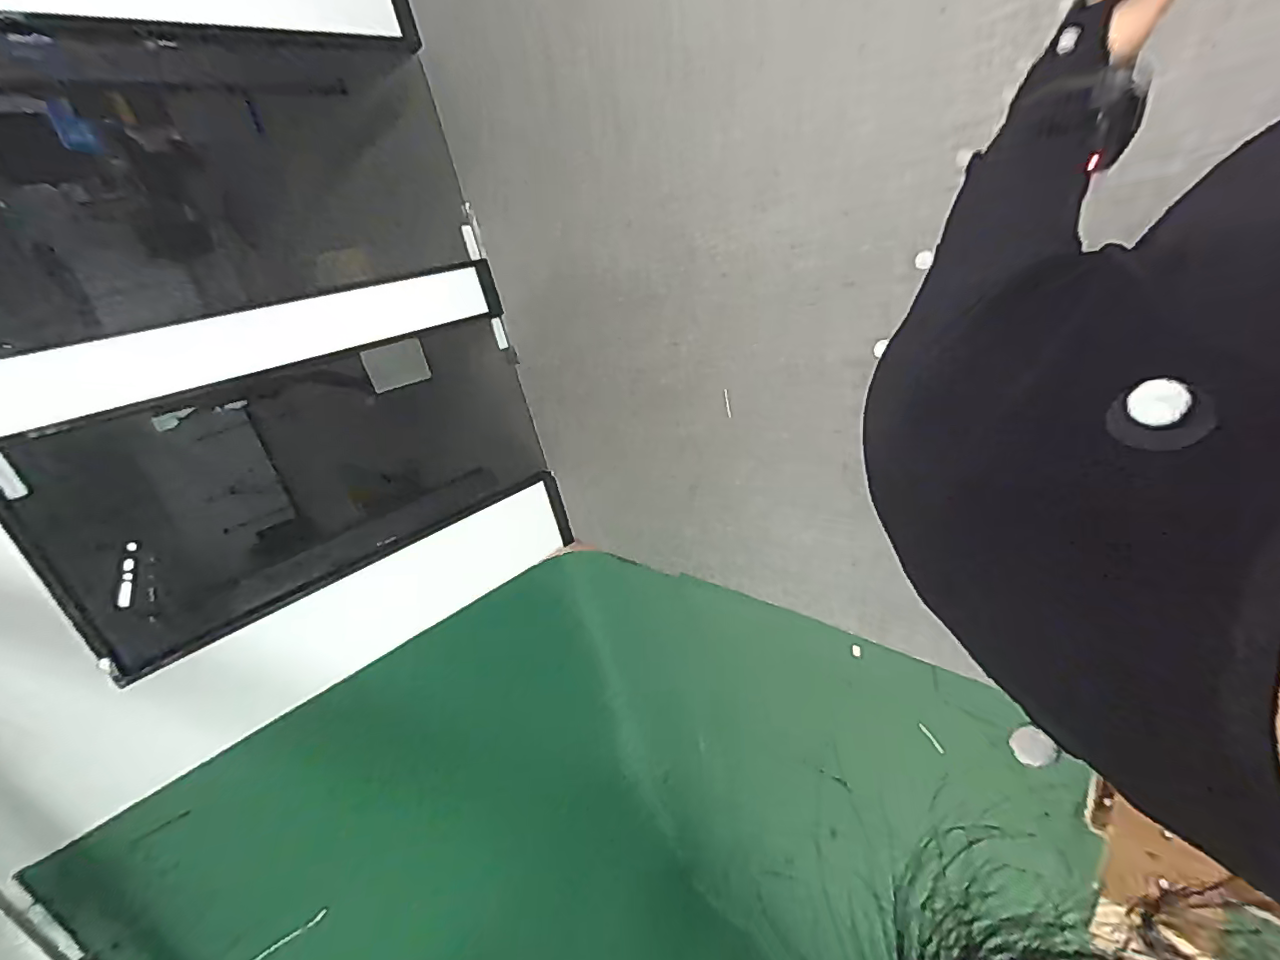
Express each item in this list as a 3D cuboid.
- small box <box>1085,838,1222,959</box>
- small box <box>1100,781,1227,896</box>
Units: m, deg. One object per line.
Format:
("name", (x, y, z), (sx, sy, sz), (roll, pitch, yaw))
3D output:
("small box", (1.035, 0.881, 1.091), (0.168, 0.176, 0.179), (17, 123, 44))
("small box", (1.148, 0.810, 1.187), (0.179, 0.176, 0.168), (12, 120, 47))
